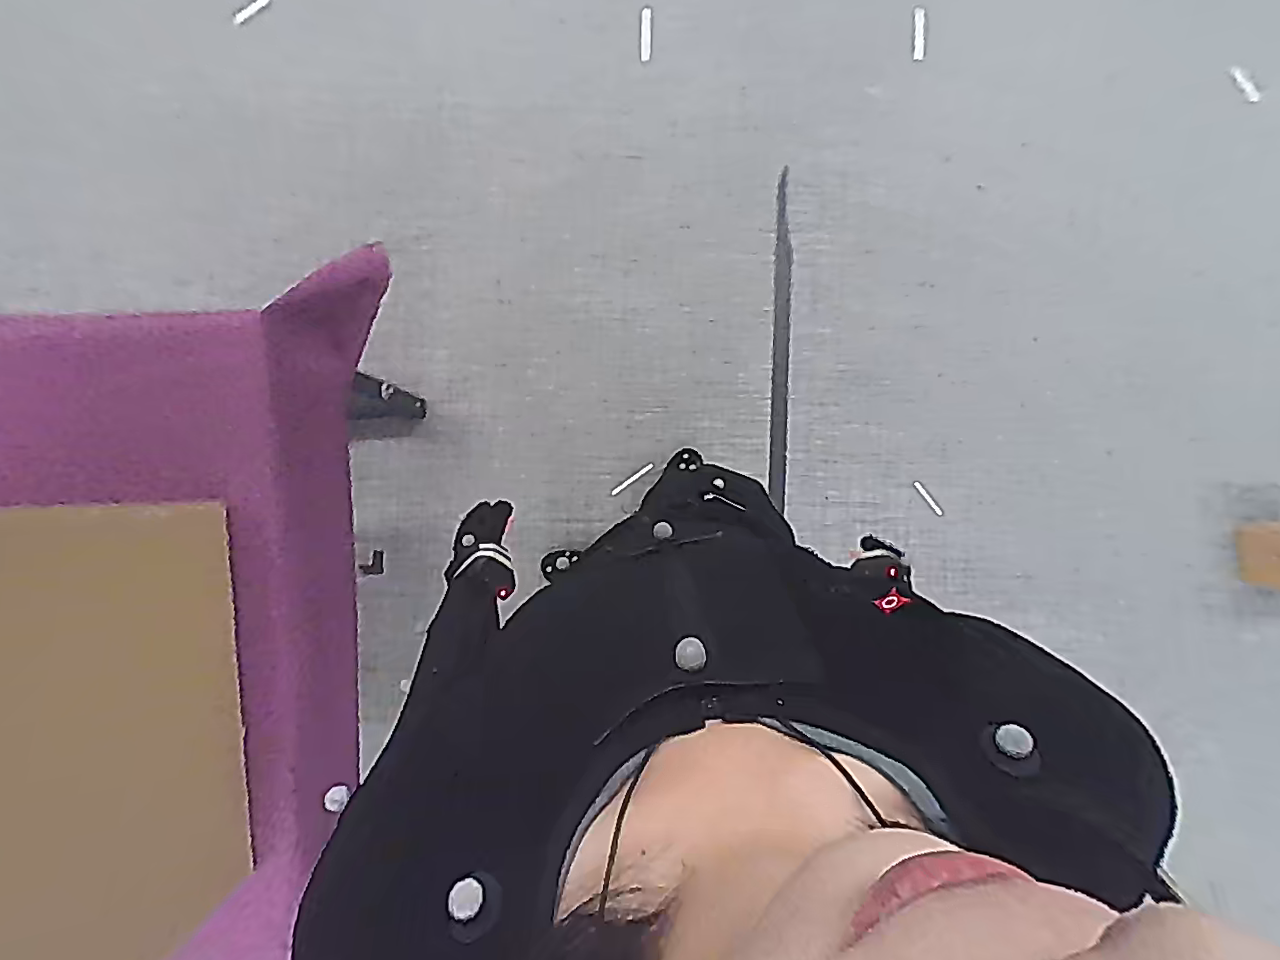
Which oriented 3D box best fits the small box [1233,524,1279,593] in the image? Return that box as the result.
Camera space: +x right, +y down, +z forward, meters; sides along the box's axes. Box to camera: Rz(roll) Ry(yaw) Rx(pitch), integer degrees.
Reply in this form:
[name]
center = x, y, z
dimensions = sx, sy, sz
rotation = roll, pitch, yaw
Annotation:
[small box]
center = 1.857, 0.225, 1.531
dimensions = 0.168, 0.176, 0.179
rotation = -7, 88, -3
